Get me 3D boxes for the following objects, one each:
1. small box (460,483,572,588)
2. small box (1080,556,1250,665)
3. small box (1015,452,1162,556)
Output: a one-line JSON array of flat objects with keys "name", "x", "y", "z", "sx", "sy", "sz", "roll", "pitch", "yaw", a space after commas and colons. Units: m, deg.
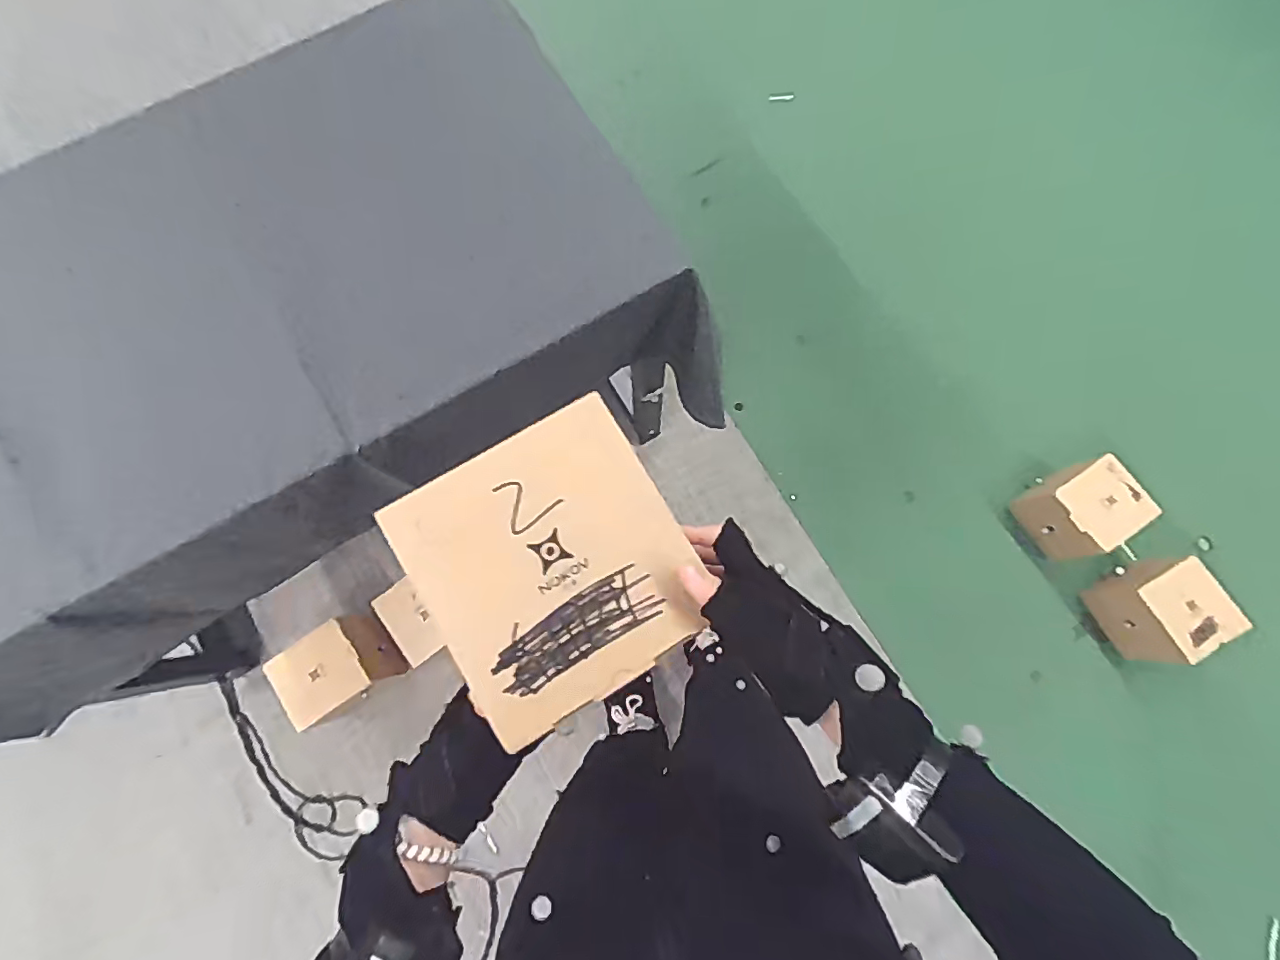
[{"name": "small box", "x": -0.281, "y": 0.138, "z": 1.259, "sx": 0.168, "sy": 0.176, "sz": 0.179, "roll": -42, "pitch": 80, "yaw": -8}, {"name": "small box", "x": 1.166, "y": 0.289, "z": 1.217, "sx": 0.168, "sy": 0.176, "sz": 0.179, "roll": -28, "pitch": 78, "yaw": -6}, {"name": "small box", "x": 1.030, "y": 0.064, "z": 1.268, "sx": 0.179, "sy": 0.176, "sz": 0.168, "roll": -32, "pitch": 79, "yaw": -5}]
